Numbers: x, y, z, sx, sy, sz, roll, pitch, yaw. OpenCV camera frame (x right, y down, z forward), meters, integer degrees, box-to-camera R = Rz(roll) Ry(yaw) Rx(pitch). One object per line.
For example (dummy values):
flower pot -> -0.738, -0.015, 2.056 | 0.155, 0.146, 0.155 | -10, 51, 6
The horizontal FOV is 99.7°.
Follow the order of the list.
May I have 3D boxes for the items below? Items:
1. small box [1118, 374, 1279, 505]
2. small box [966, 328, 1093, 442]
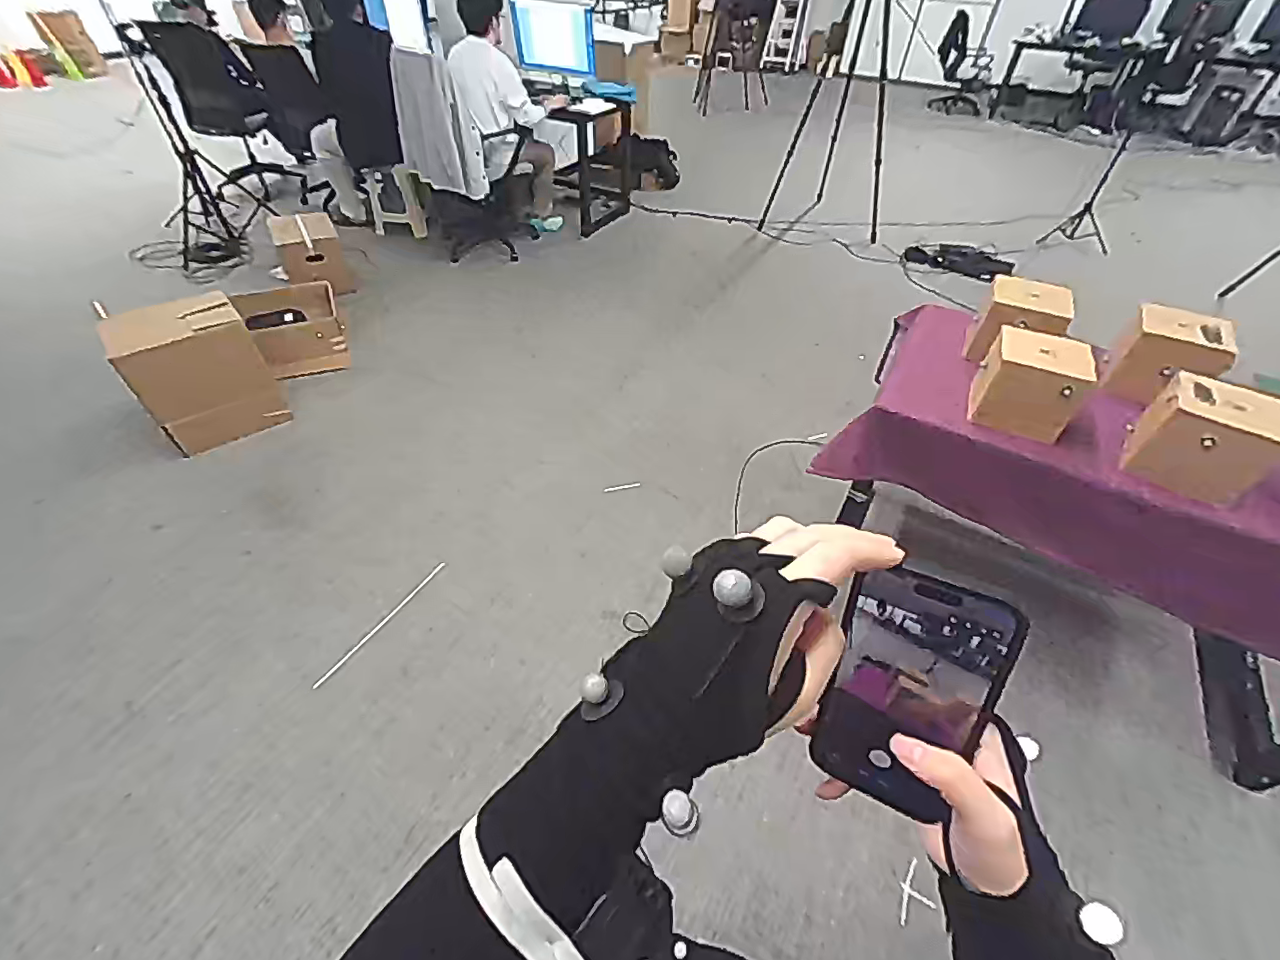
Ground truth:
small box -> 1.114, -0.080, 1.084 | 0.179, 0.176, 0.168 | 30, 51, 24
small box -> 0.855, -0.209, 1.206 | 0.179, 0.176, 0.168 | 21, 48, 16
